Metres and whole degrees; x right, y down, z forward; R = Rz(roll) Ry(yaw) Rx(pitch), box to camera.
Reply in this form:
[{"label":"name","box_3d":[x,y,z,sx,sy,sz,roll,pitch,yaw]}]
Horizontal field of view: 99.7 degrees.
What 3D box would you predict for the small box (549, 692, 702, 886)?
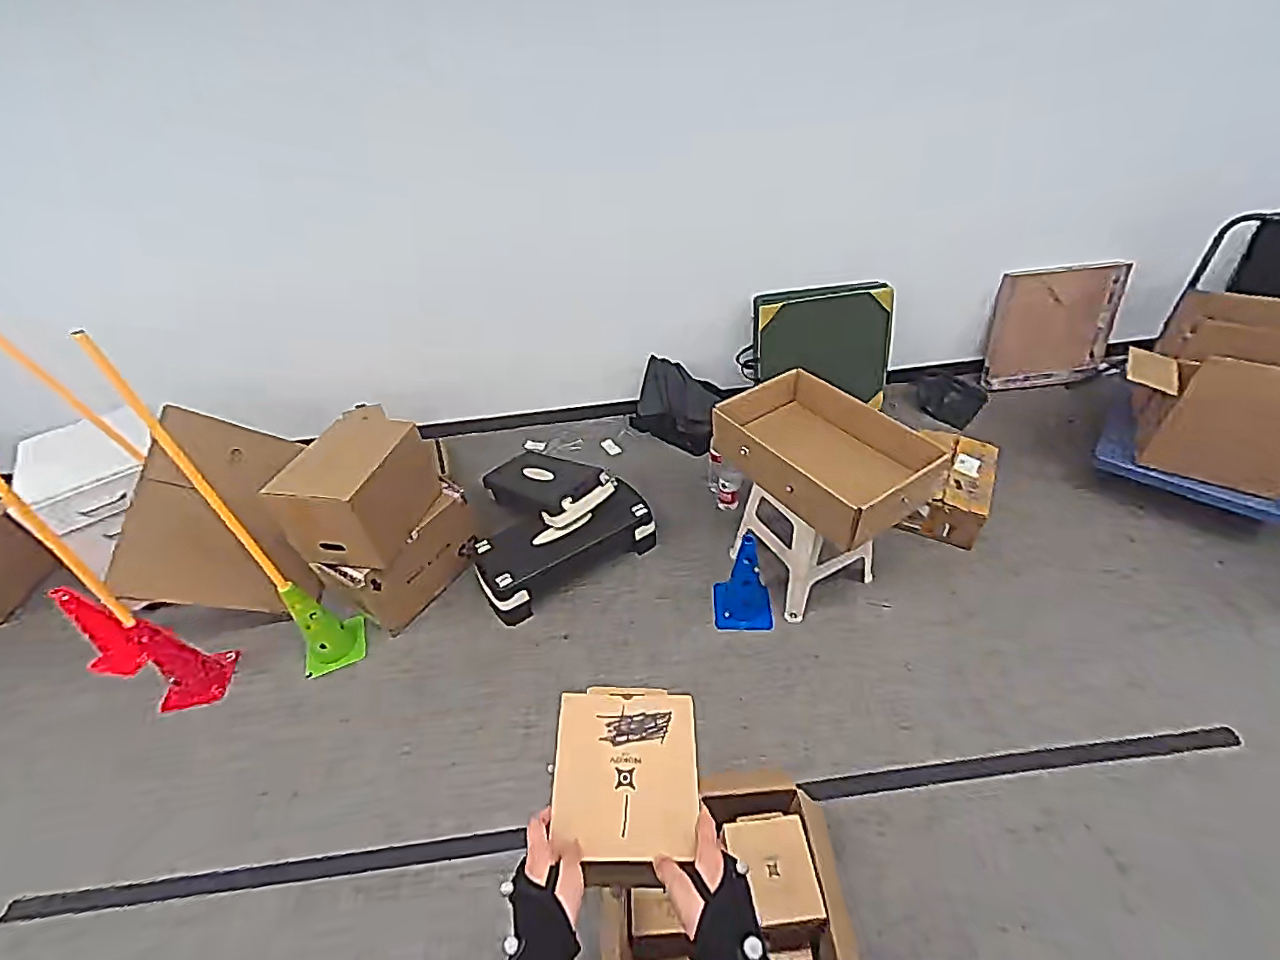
[{"label":"small box","box_3d":[-0.020,0.389,0.682,0.168,0.176,0.179,2,46,-2]}]
